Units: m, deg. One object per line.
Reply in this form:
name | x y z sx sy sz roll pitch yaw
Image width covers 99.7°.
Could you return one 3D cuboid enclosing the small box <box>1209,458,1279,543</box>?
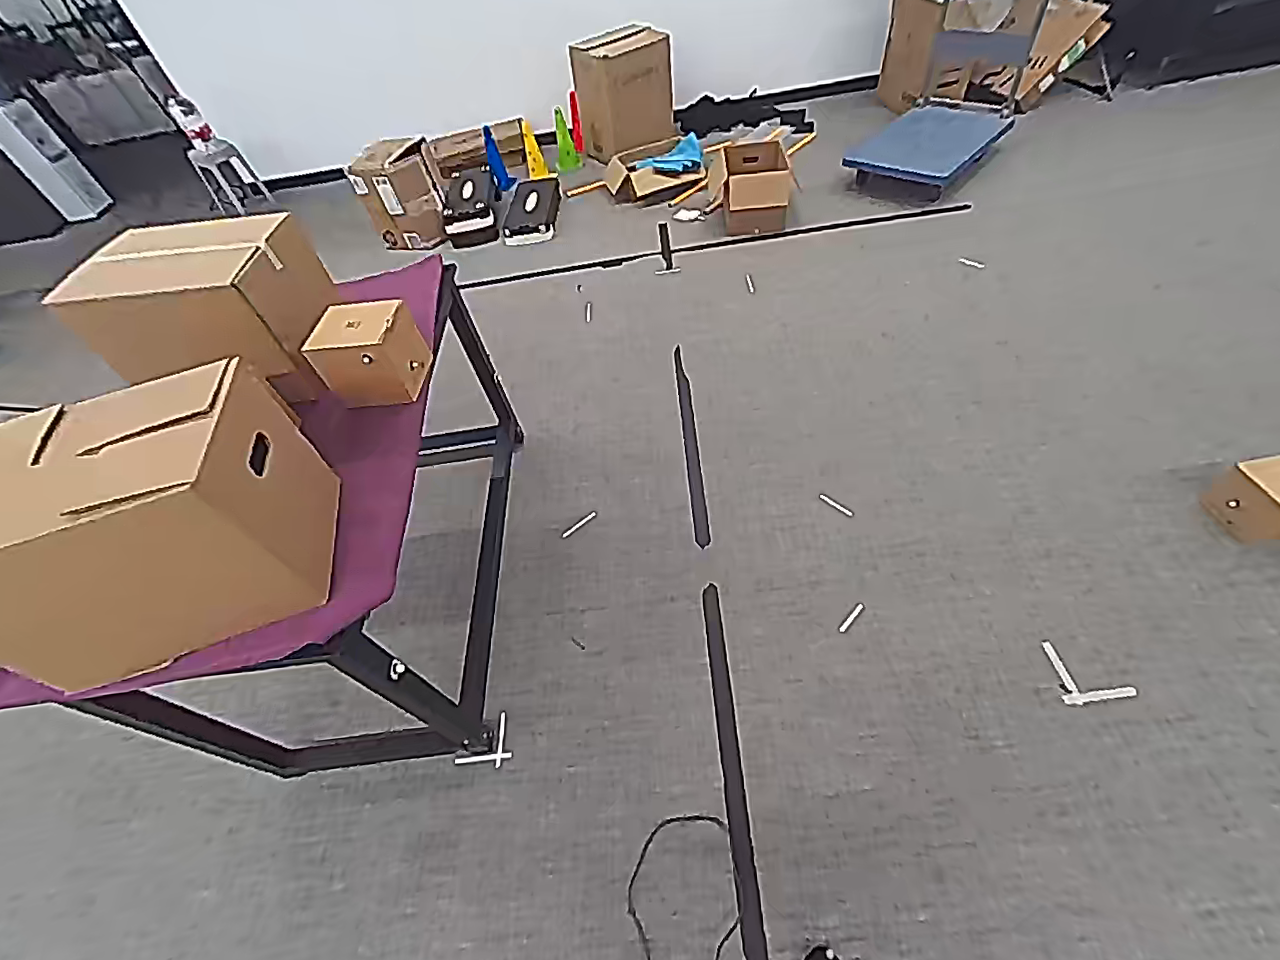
small box | 1.747 0.057 1.491 0.179 0.176 0.168 -10 50 1
